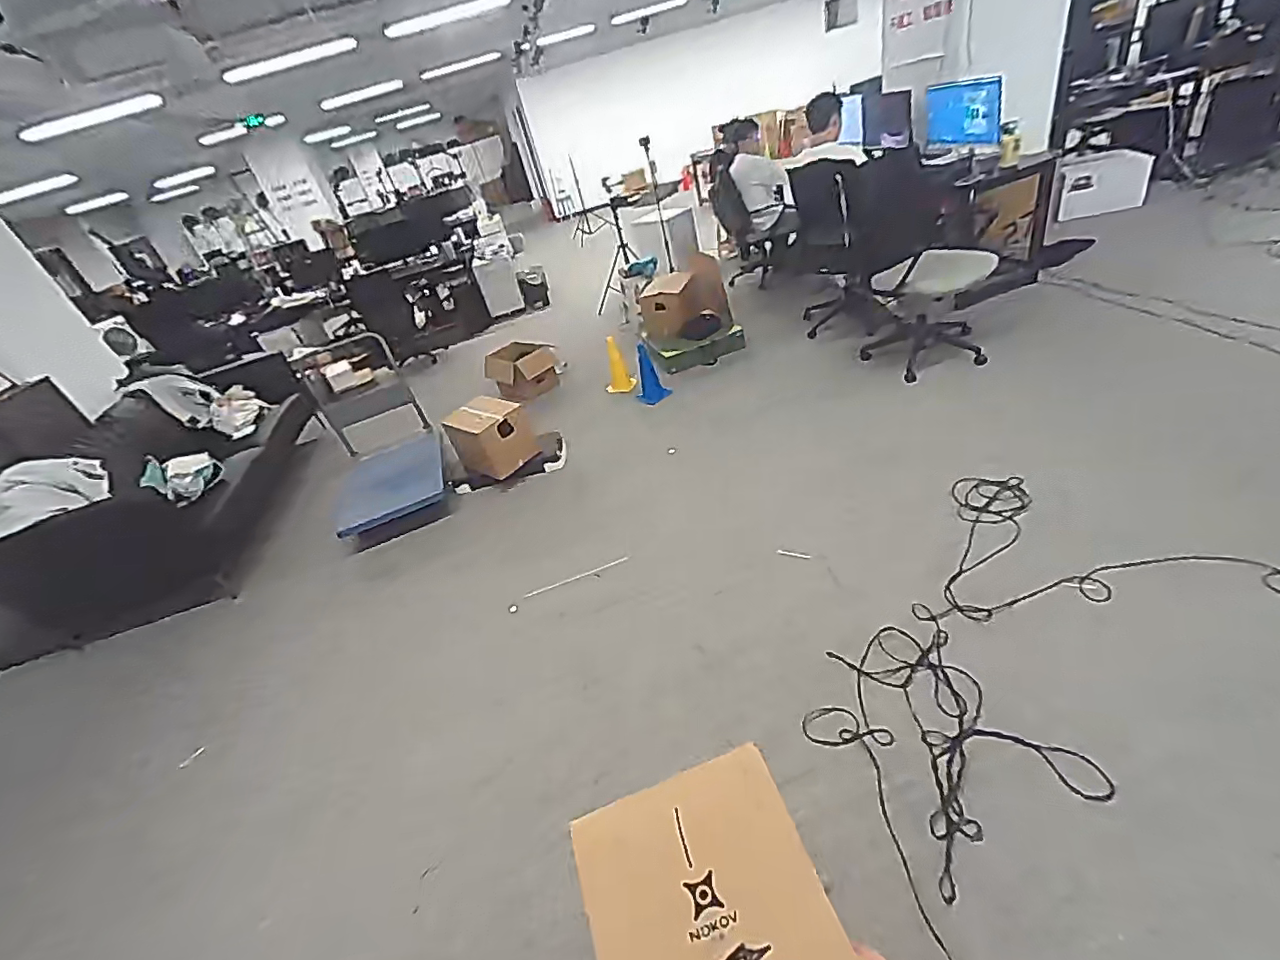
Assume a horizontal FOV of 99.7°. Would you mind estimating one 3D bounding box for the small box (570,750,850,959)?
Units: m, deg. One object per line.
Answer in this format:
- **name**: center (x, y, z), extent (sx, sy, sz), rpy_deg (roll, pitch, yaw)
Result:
- **small box**: center (0.060, 0.356, 0.436), extent (0.168, 0.176, 0.179), rpy_deg (-20, 47, -6)
